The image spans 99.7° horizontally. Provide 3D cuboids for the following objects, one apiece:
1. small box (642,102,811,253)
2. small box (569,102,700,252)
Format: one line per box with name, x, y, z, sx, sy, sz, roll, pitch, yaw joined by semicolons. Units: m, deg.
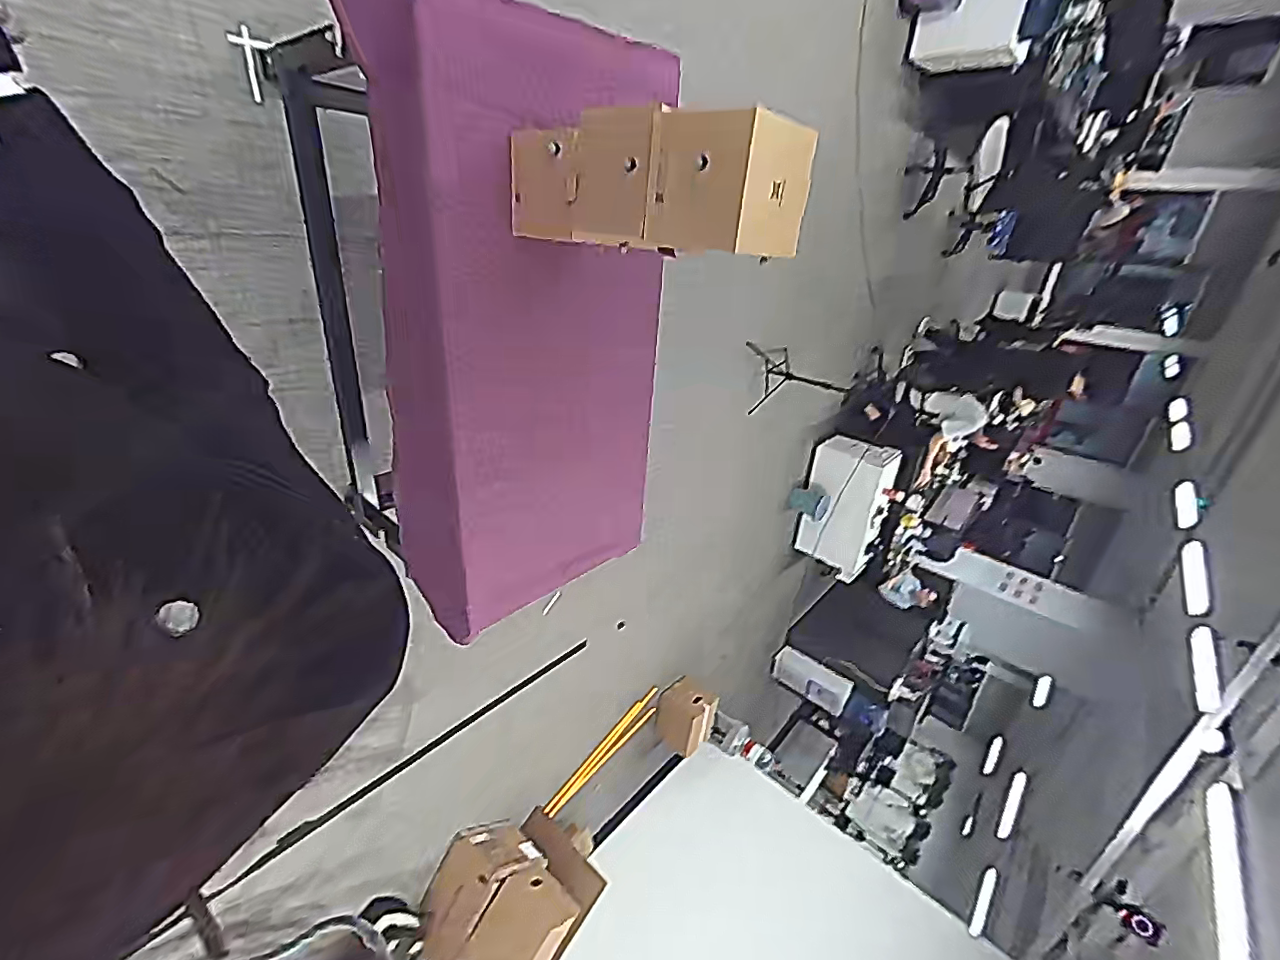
small box;0.120;-0.428;0.788;0.179;0.176;0.168;-23;127;-45
small box;0.002;-0.485;0.884;0.168;0.176;0.179;-14;120;-48
